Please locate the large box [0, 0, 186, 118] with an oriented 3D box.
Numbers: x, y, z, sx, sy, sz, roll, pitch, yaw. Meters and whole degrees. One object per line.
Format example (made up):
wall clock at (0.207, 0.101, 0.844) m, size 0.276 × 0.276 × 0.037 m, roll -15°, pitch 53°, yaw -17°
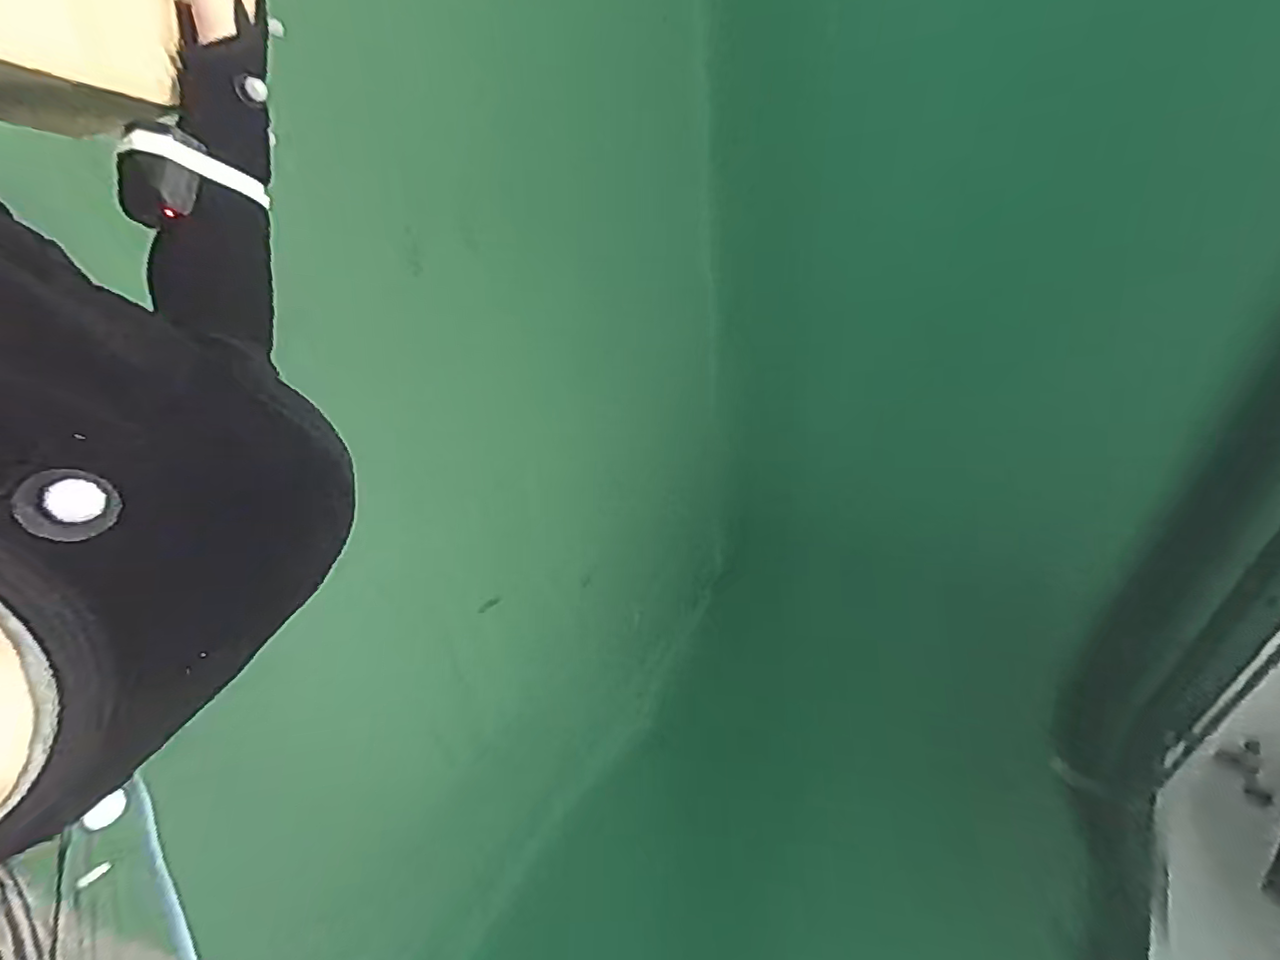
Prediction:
large box at (-0.576, -0.439, 0.301) m, size 0.408 × 0.320 × 0.320 m, roll -19°, pitch 121°, yaw -51°
